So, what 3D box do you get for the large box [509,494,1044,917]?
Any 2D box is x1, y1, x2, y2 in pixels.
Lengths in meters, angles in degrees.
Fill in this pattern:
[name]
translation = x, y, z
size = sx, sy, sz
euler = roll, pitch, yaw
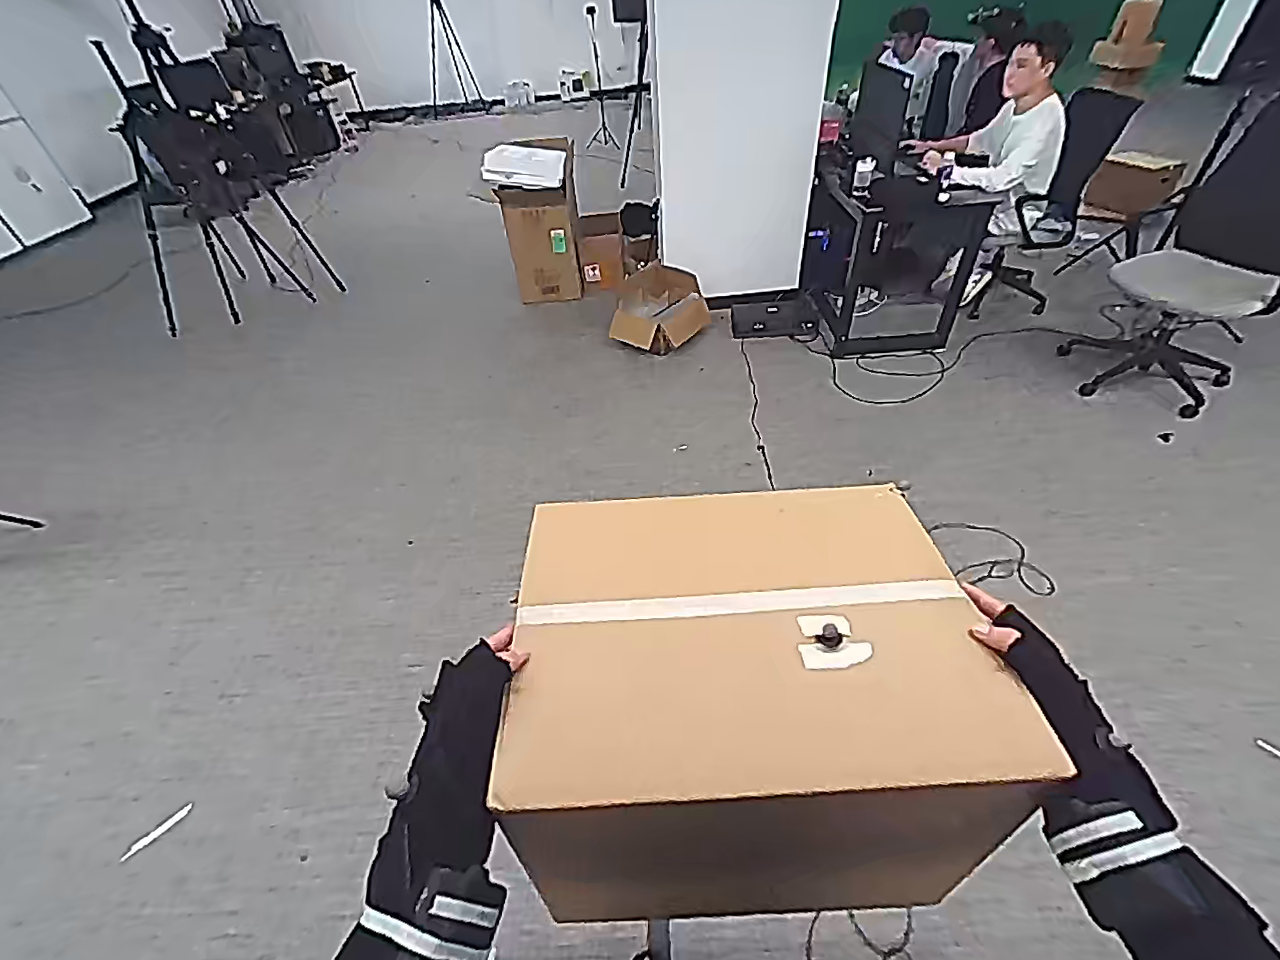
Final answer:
[large box]
translation = 0.099, 0.240, 0.599
size = 0.408, 0.320, 0.320
euler = -3, 39, 0
